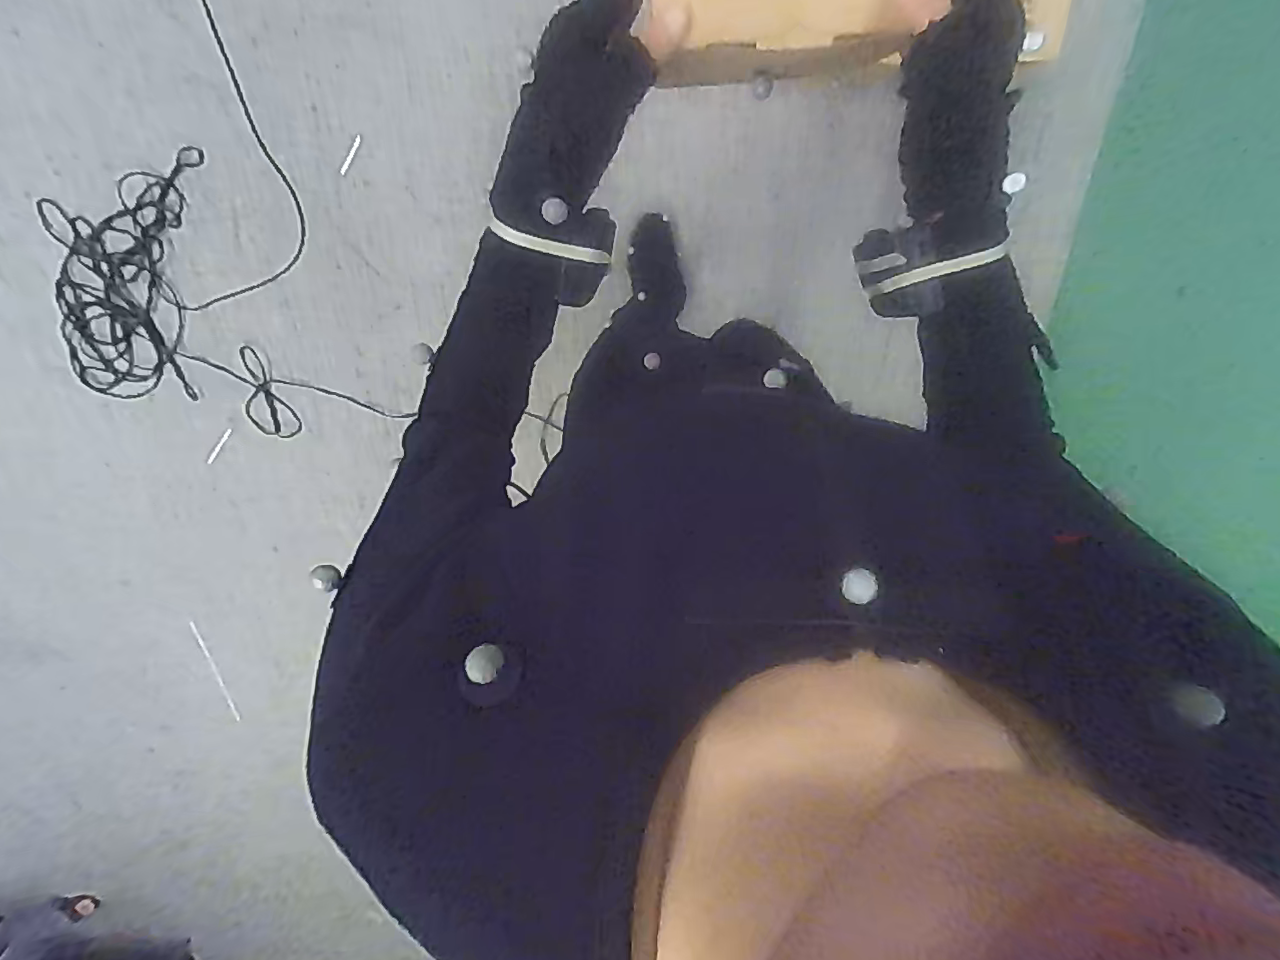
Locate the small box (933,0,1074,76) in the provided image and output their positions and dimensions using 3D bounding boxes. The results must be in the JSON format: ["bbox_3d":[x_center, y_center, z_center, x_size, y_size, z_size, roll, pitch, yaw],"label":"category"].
[{"bbox_3d":[0.682,-0.884,1.021,0.168,0.176,0.179,-1,115,2],"label":"small box"}]

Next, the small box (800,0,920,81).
[{"bbox_3d":[0.414,-0.886,1.026,0.168,0.176,0.179,1,116,0],"label":"small box"}]
